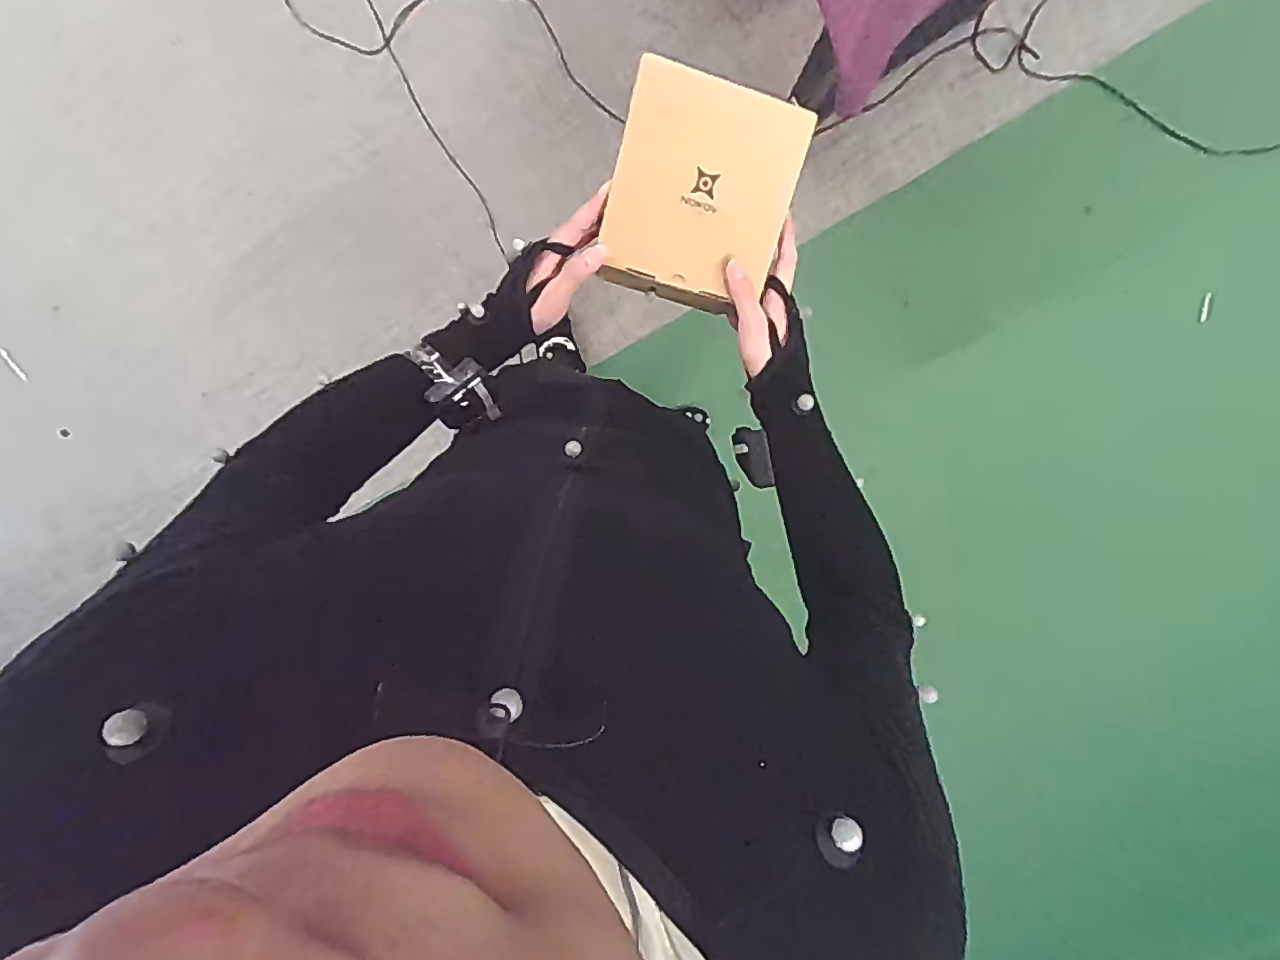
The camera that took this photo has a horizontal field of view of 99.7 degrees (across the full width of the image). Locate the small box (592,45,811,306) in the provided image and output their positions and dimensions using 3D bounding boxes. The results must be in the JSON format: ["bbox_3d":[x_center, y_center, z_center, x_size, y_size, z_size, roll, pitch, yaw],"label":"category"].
[{"bbox_3d":[0.046,-0.290,0.563,0.168,0.176,0.179,13,106,-8],"label":"small box"}]
